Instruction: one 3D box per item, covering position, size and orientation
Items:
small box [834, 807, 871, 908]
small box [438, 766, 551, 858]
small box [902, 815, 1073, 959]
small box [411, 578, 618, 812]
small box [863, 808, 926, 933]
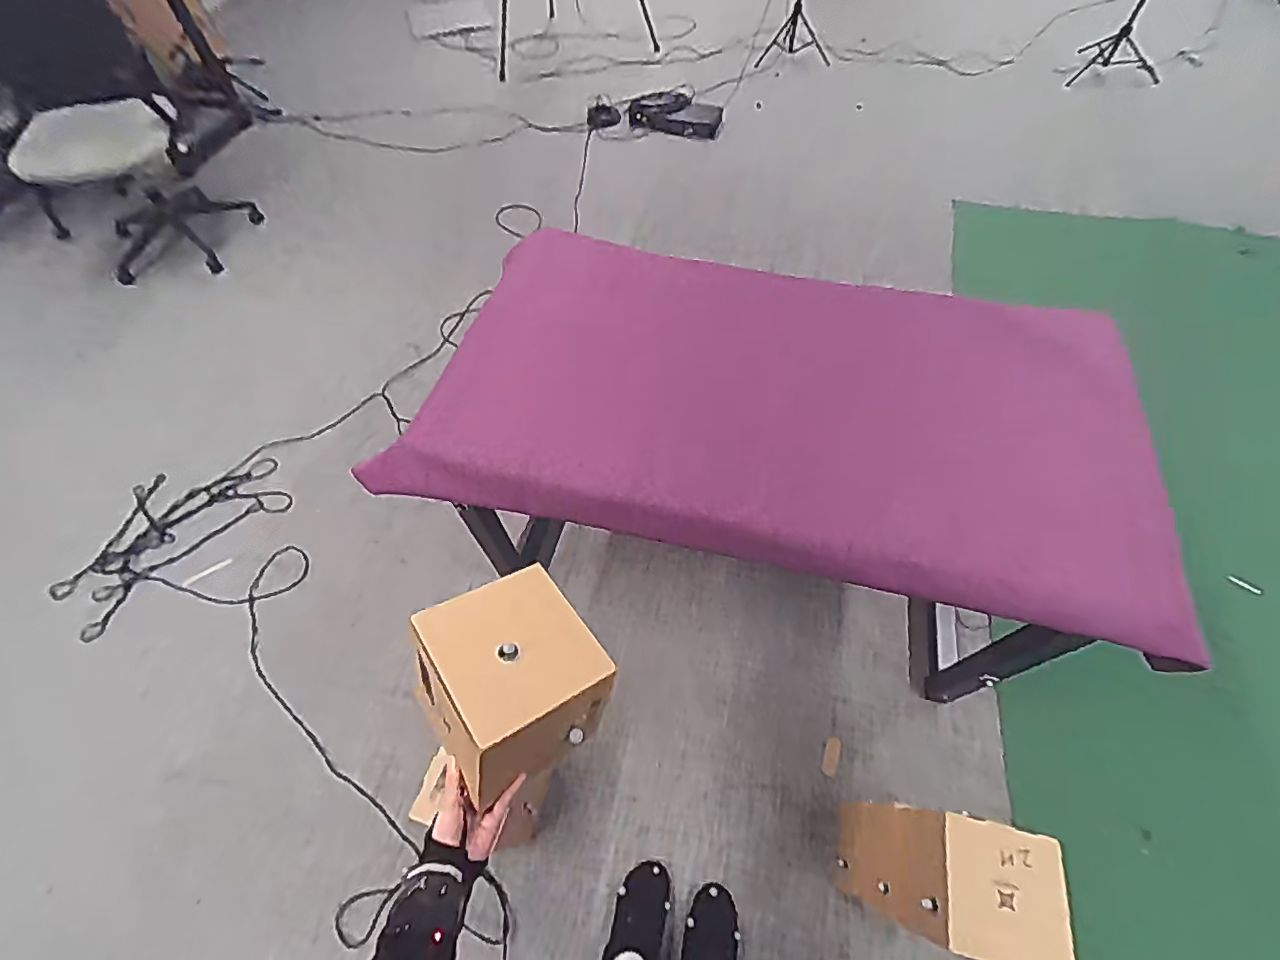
[{"bbox_3d":[0.516,0.802,1.123,0.179,0.176,0.168,13,59,9],"label":"small box"},{"bbox_3d":[-0.312,0.711,1.206,0.168,0.176,0.179,15,60,11],"label":"small box"},{"bbox_3d":[0.523,0.641,0.838,0.168,0.176,0.179,11,59,8],"label":"small box"},{"bbox_3d":[-0.153,0.239,0.643,0.176,0.168,0.179,-21,51,-36],"label":"small box"},{"bbox_3d":[0.516,0.718,0.985,0.168,0.176,0.179,10,60,8],"label":"small box"}]
